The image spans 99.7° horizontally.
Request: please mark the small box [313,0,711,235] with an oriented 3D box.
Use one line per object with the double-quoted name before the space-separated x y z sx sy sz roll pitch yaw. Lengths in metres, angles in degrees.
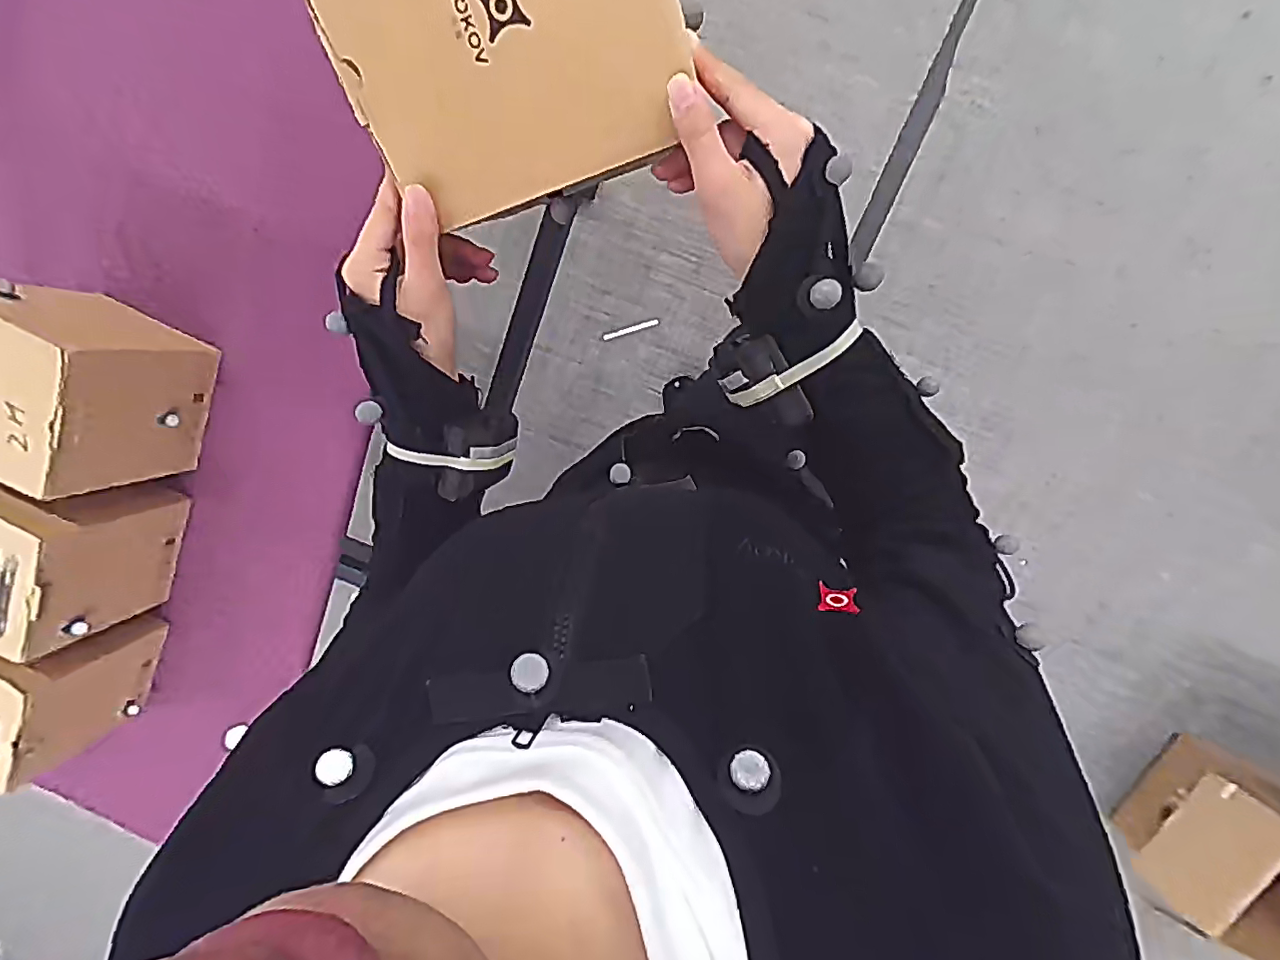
"small box" -0.064 -0.269 0.330 0.179 0.176 0.168 -14 118 12
